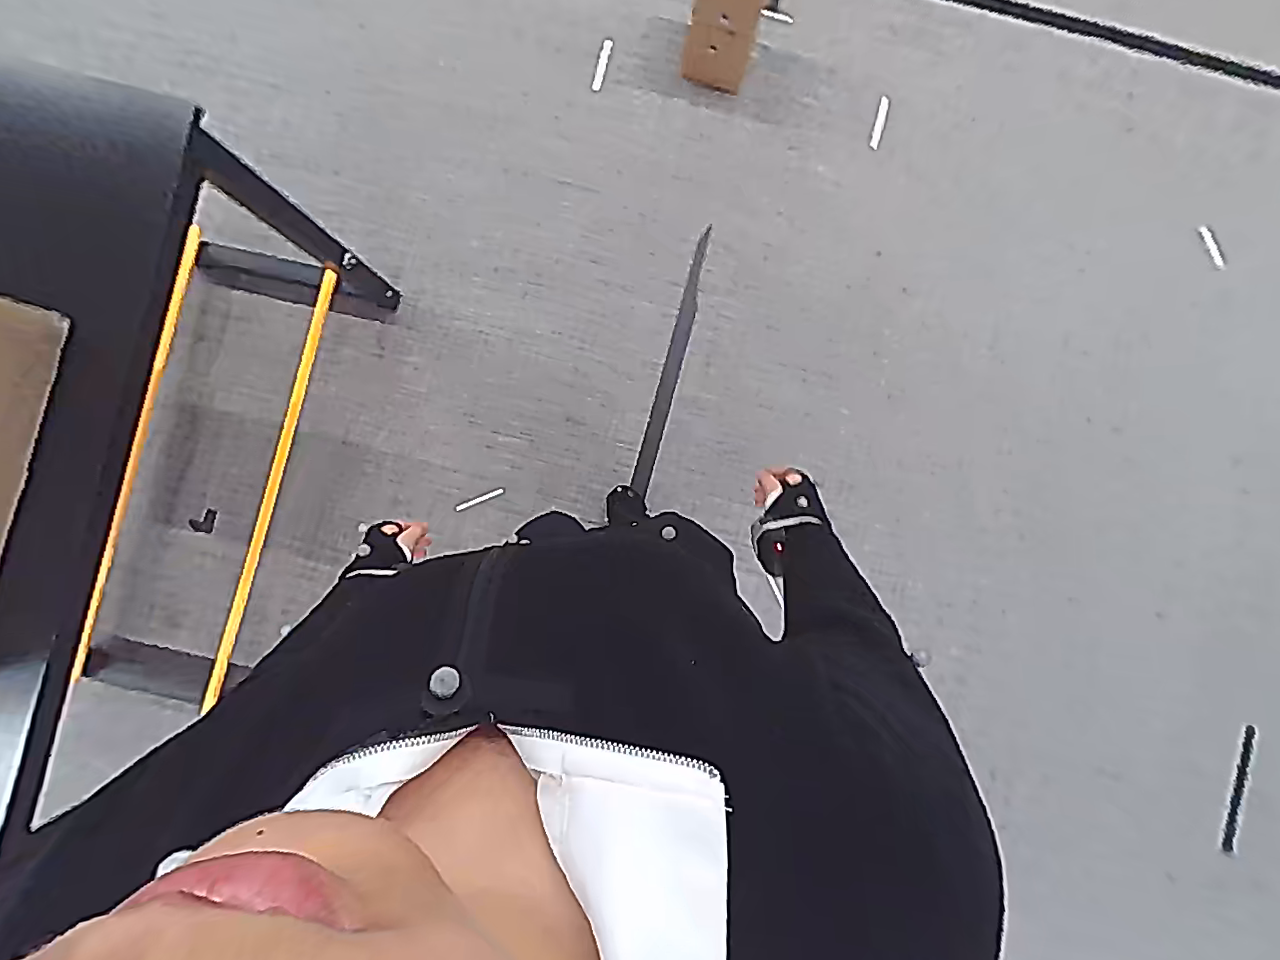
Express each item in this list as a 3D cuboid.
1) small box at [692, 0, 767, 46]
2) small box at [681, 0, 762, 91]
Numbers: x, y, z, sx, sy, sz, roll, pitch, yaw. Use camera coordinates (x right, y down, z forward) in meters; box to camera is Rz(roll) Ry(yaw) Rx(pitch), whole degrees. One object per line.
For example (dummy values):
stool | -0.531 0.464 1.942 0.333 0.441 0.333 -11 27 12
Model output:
small box | 0.230 -1.196 1.280 0.168 0.176 0.179 18 89 -1
small box | 0.218 -1.190 1.445 0.179 0.176 0.168 18 89 -2
